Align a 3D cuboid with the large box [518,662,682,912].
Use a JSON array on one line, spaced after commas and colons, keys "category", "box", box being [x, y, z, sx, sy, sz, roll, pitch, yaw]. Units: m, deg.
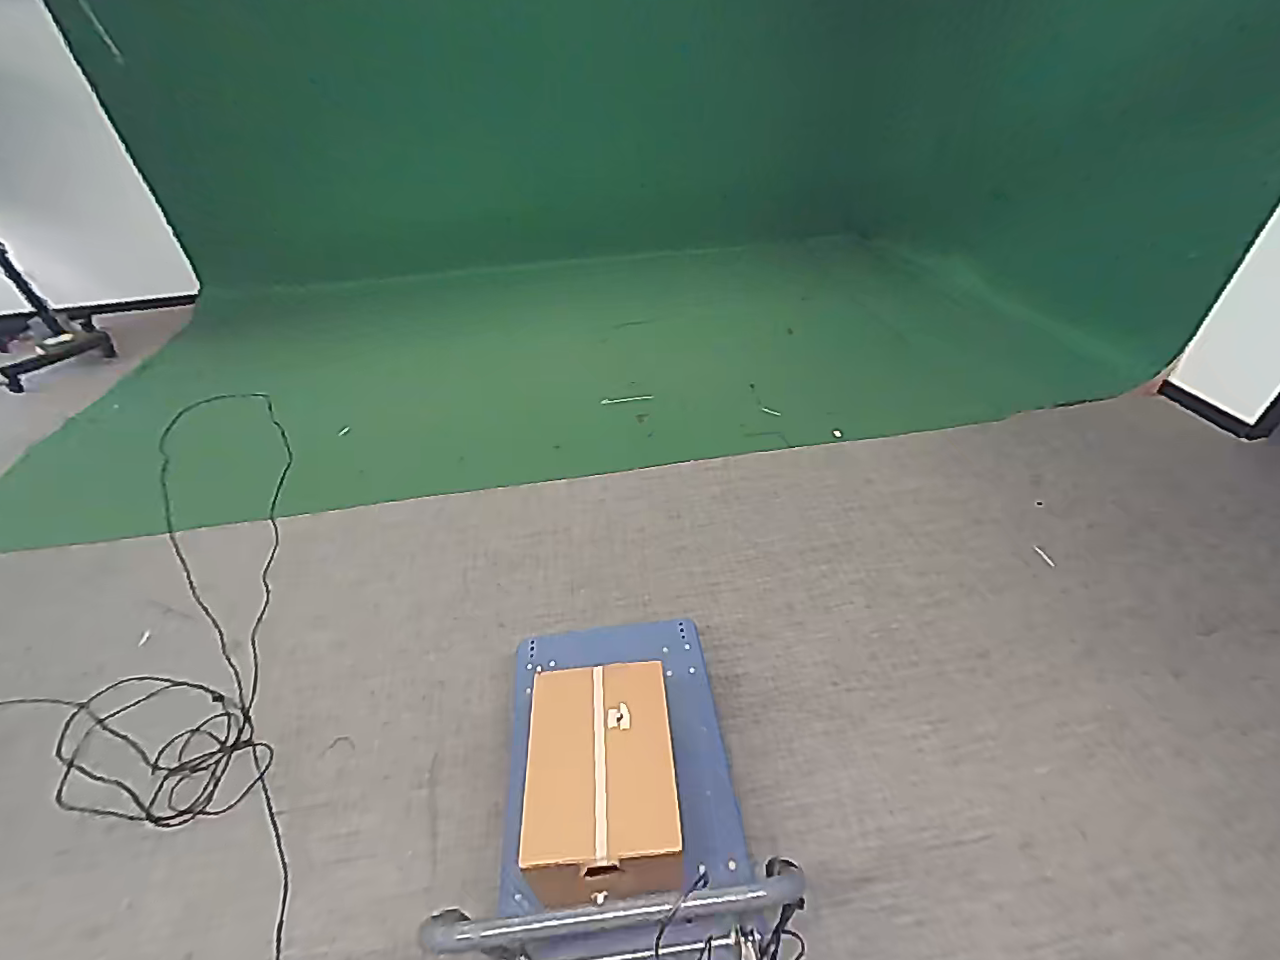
[{"category": "large box", "box": [-0.083, 0.695, 1.246, 0.320, 0.320, 0.408, -4, 39, -2]}]
